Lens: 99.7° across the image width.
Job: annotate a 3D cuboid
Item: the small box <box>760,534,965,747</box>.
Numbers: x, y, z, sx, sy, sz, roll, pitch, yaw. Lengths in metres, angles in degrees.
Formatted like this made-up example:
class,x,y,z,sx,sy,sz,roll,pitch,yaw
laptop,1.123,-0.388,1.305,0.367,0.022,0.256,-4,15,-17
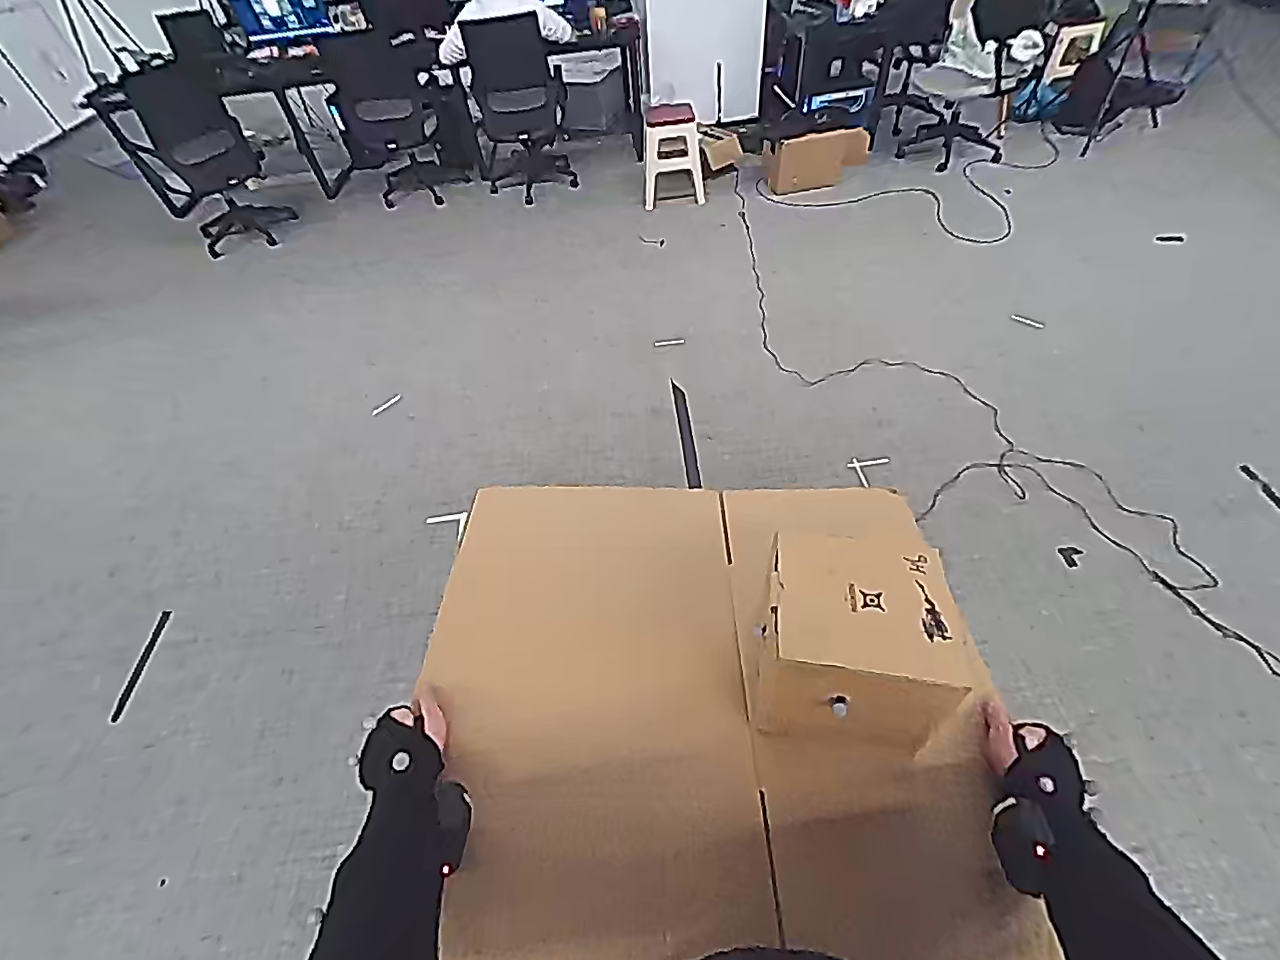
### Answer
class,x,y,z,sx,sy,sz,roll,pitch,yaw
small box,0.233,0.183,0.618,0.179,0.176,0.168,5,45,10
